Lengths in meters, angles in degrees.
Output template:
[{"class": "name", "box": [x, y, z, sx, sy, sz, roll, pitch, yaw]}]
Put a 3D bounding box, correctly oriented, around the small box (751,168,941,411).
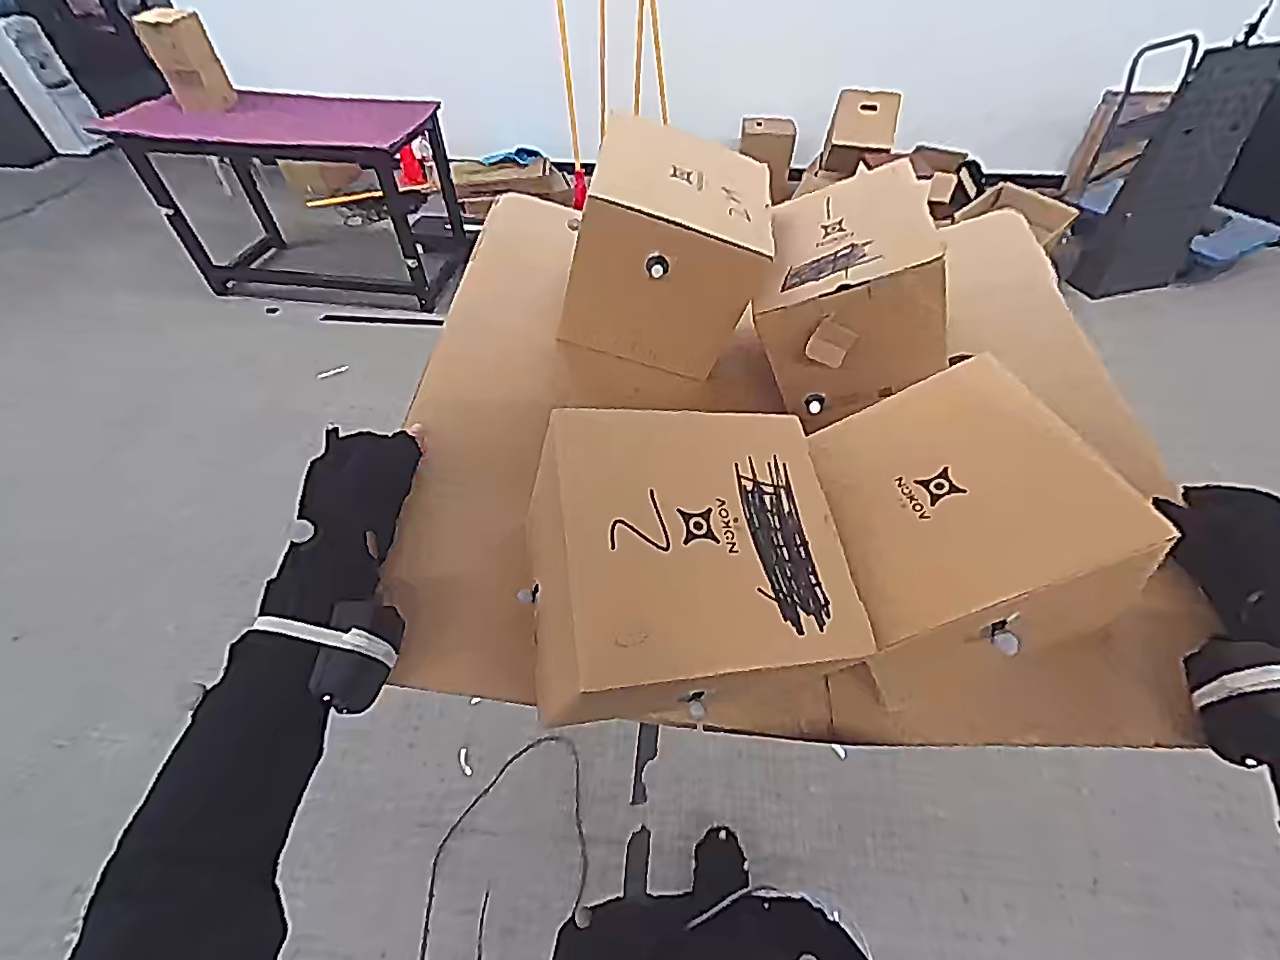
[{"class": "small box", "box": [0.227, -0.195, 0.601, 0.168, 0.176, 0.179, -10, 51, 24]}]
